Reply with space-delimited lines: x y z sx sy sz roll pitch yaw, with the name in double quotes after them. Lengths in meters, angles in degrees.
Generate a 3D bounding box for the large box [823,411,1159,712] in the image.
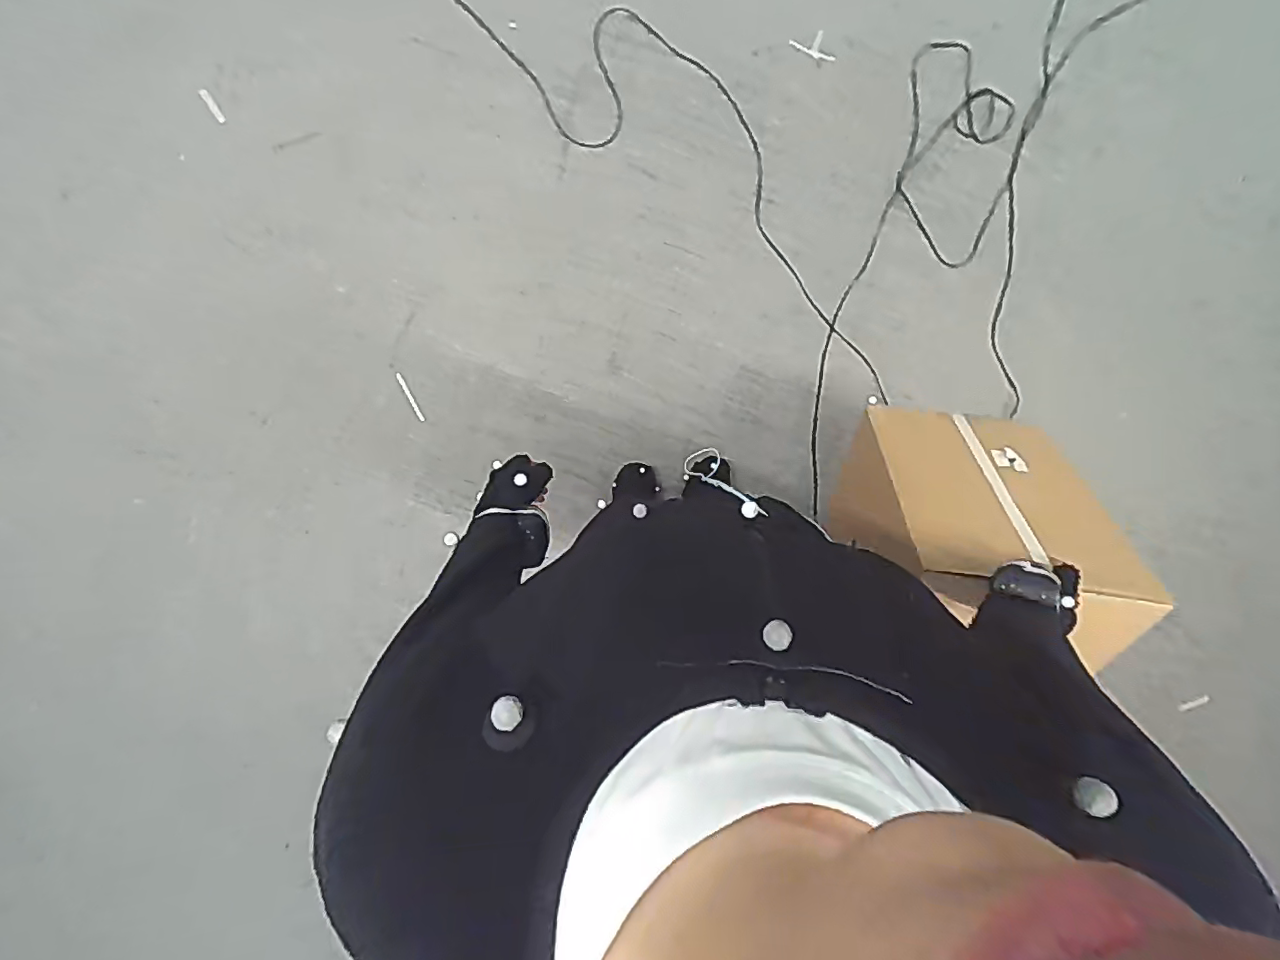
0.532 0.129 0.942 0.320 0.408 0.320 8 130 4 "large box"
